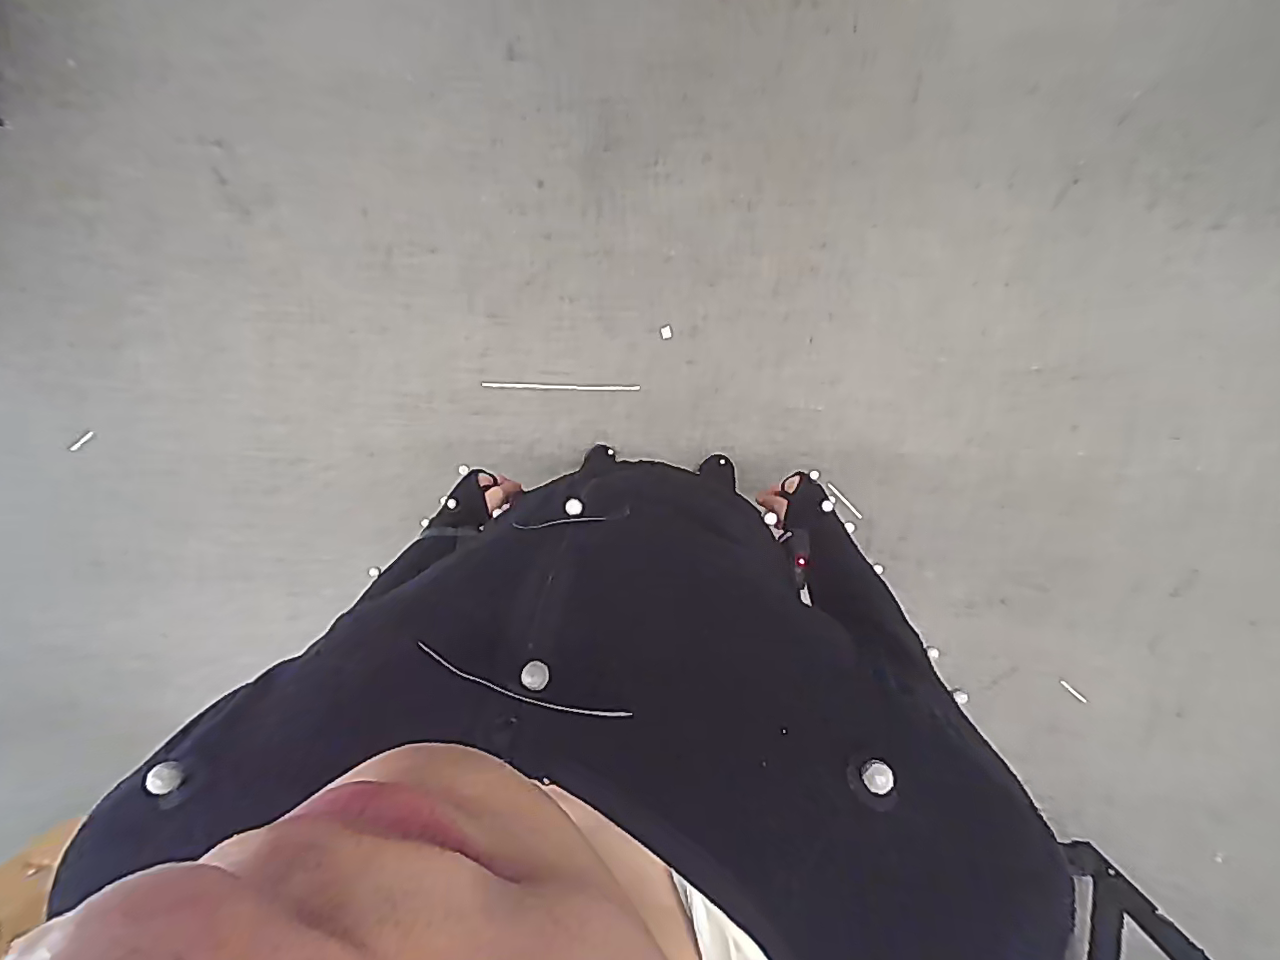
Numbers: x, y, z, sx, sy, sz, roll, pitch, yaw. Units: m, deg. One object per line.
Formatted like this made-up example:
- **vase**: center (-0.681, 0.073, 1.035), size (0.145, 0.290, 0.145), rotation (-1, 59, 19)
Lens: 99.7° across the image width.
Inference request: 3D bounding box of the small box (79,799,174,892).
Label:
- **small box**: center (-1.622, 1.139, 1.699), size (0.179, 0.176, 0.168), rotation (9, 93, 2)

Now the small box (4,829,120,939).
- **small box**: center (-1.639, 1.138, 1.537), size (0.168, 0.176, 0.179), rotation (8, 94, 3)

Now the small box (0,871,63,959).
- **small box**: center (-1.638, 1.153, 1.374), size (0.168, 0.176, 0.179), rotation (12, 94, 2)
